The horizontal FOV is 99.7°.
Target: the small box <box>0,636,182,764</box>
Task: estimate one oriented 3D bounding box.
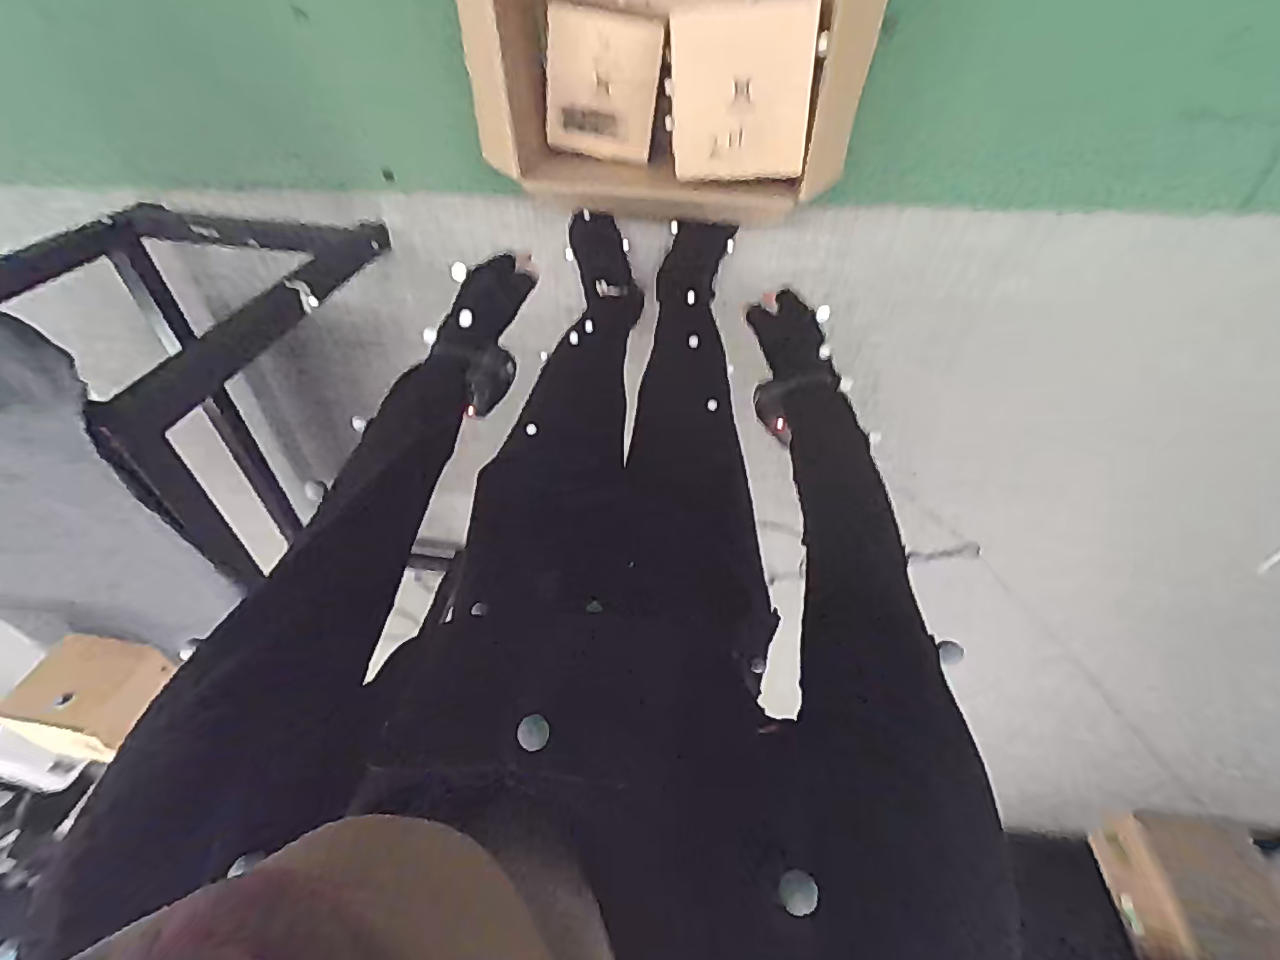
[{"bbox_3d":[-1.051,0.425,1.052,0.179,0.176,0.168,9,133,1],"label":"small box"}]
